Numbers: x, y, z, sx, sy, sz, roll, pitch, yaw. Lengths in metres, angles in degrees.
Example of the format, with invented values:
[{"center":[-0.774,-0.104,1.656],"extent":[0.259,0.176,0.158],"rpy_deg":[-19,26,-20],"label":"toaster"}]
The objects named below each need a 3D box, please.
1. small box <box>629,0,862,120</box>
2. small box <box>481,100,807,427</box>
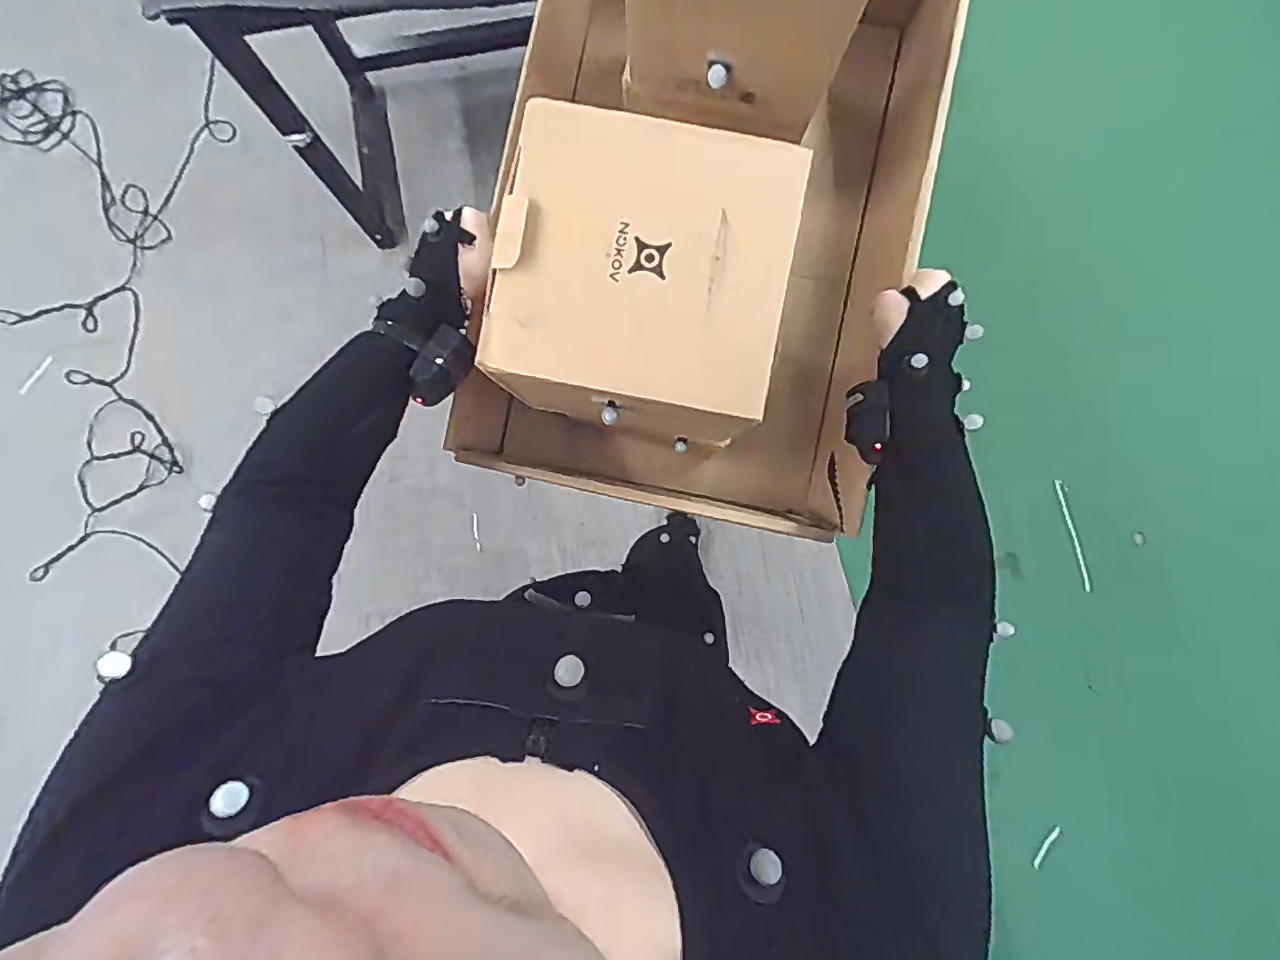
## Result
[{"center":[0.085,-0.418,0.401],"extent":[0.168,0.176,0.179],"rpy_deg":[11,93,1],"label":"small box"},{"center":[0.003,-0.138,0.408],"extent":[0.179,0.176,0.168],"rpy_deg":[10,91,0],"label":"small box"}]
